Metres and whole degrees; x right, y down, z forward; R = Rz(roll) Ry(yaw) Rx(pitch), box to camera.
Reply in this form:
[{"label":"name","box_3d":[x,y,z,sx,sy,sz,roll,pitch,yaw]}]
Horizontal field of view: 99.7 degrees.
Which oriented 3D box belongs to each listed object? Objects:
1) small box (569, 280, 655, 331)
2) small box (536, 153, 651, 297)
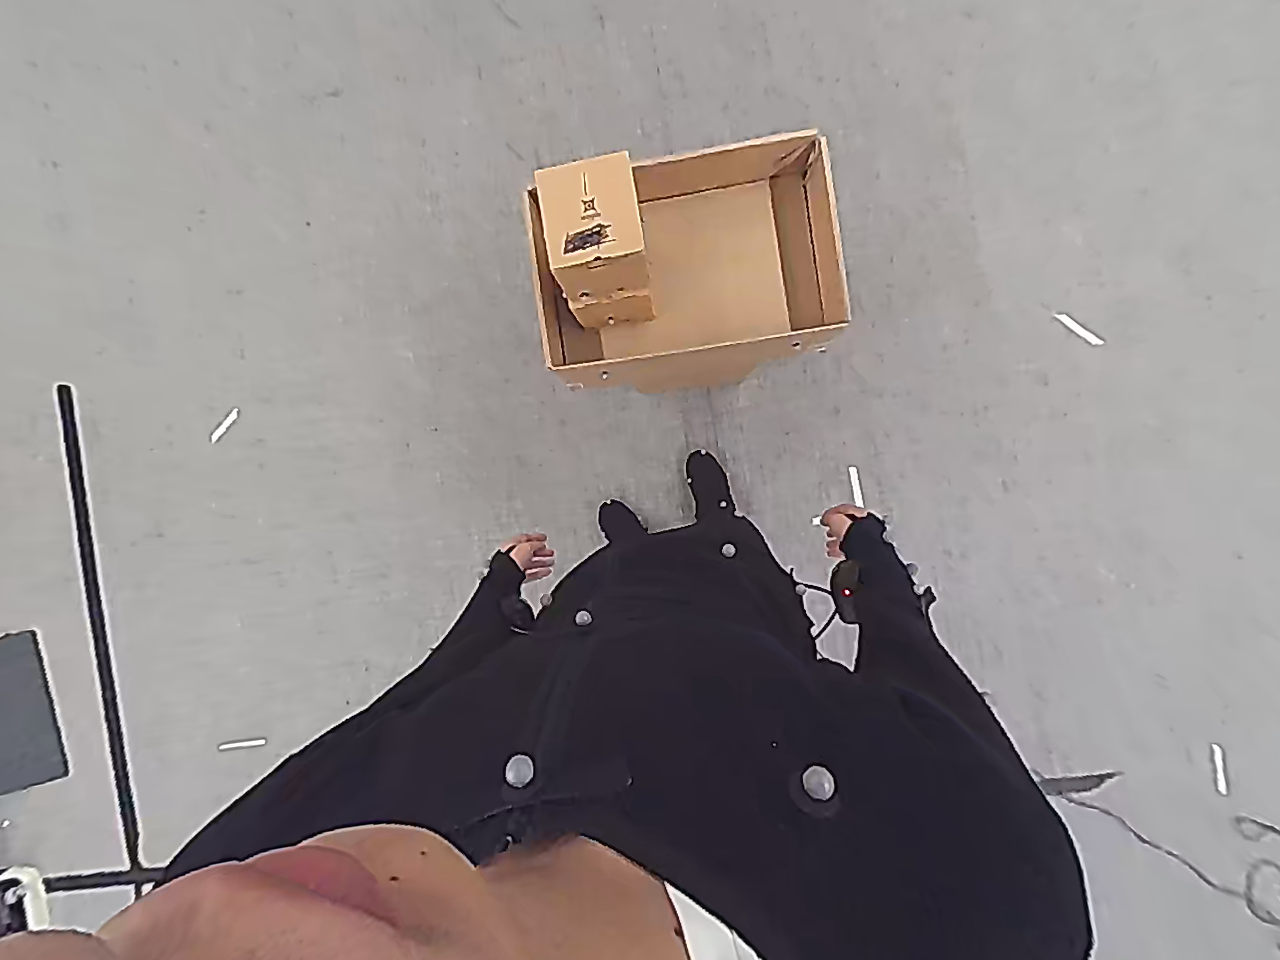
[{"label":"small box","box_3d":[-0.064,-0.436,1.146,0.168,0.176,0.179,-10,90,5]},{"label":"small box","box_3d":[-0.076,-0.446,0.982,0.168,0.176,0.179,-10,89,4]}]
